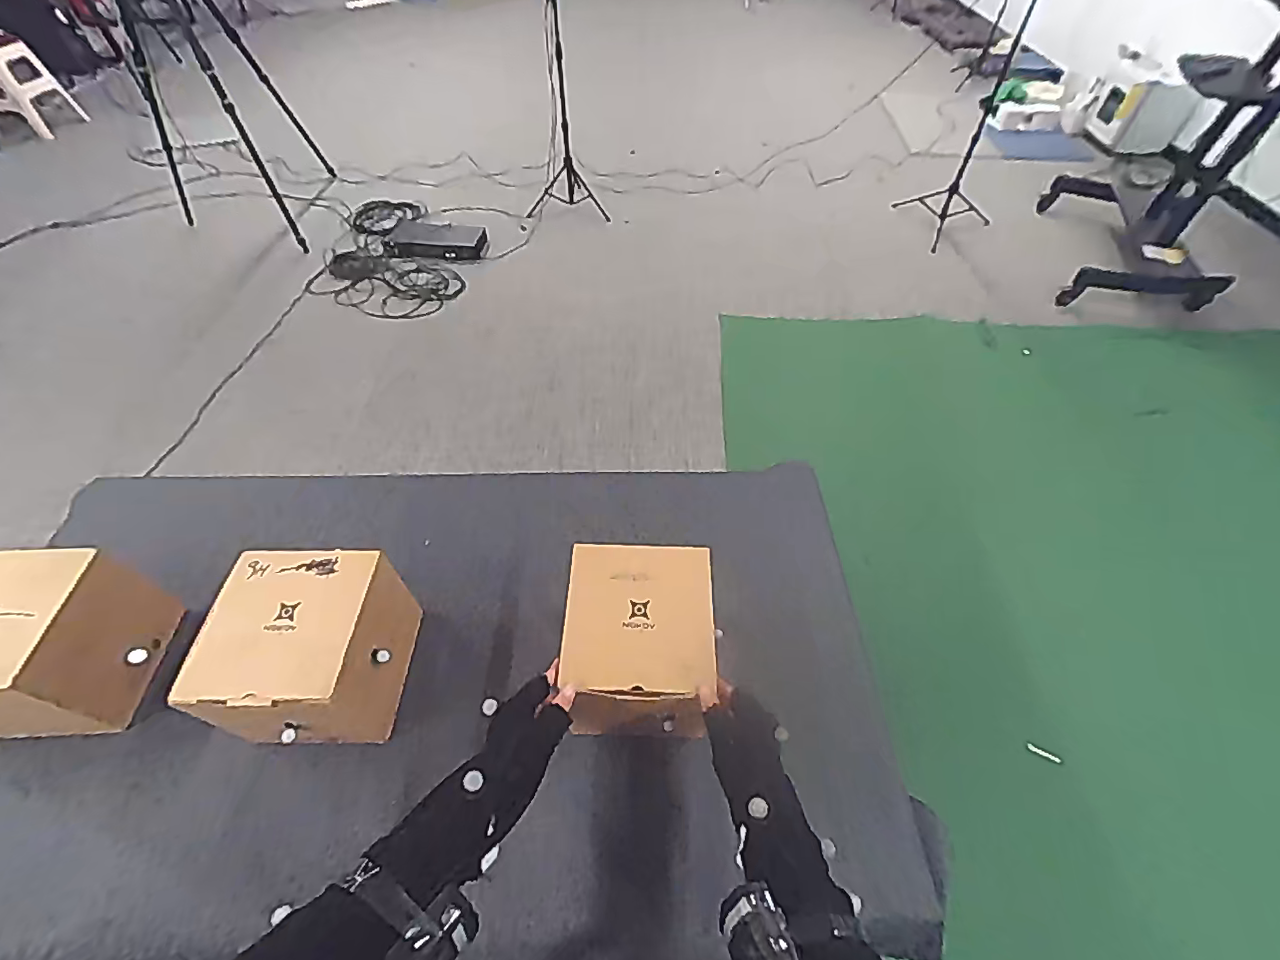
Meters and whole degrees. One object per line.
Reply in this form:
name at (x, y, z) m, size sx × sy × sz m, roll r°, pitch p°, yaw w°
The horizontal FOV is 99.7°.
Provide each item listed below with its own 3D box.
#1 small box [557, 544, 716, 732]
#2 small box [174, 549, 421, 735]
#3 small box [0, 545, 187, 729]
small box at (-0.002, 0.197, 0.661) m, size 0.168 × 0.176 × 0.179 m, roll 2°, pitch 51°, yaw -1°
small box at (-0.385, 0.199, 0.652) m, size 0.168 × 0.176 × 0.179 m, roll 0°, pitch 52°, yaw -1°
small box at (-0.716, 0.192, 0.650) m, size 0.179 × 0.176 × 0.168 m, roll -1°, pitch 52°, yaw -3°
